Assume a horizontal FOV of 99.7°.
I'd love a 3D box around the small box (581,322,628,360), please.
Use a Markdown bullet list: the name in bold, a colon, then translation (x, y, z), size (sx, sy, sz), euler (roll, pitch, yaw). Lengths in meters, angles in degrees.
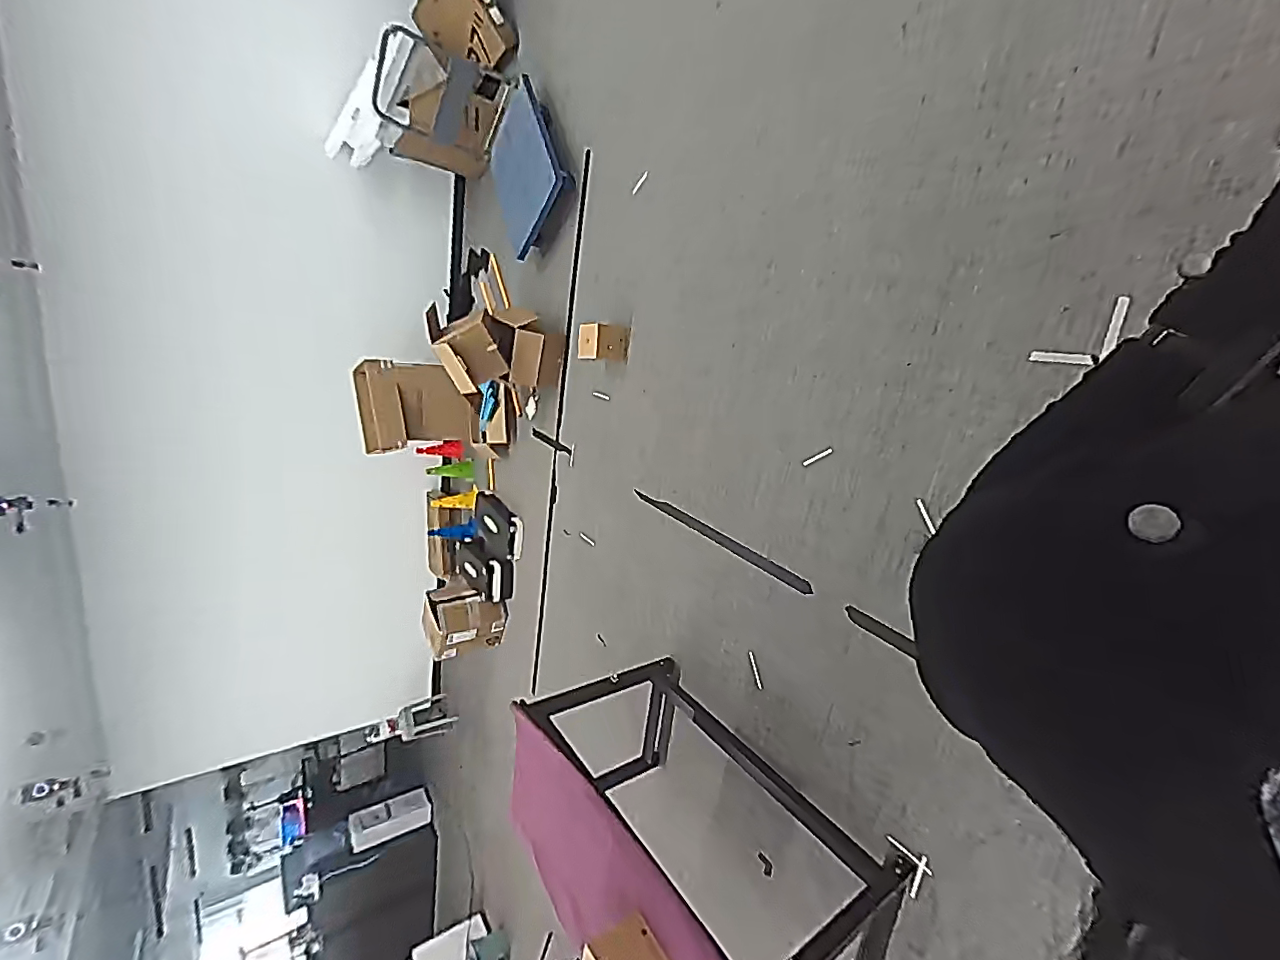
- **small box**: translation (-0.173, -0.682, 2.661), size (0.179, 0.176, 0.168), euler (17, 107, 52)
